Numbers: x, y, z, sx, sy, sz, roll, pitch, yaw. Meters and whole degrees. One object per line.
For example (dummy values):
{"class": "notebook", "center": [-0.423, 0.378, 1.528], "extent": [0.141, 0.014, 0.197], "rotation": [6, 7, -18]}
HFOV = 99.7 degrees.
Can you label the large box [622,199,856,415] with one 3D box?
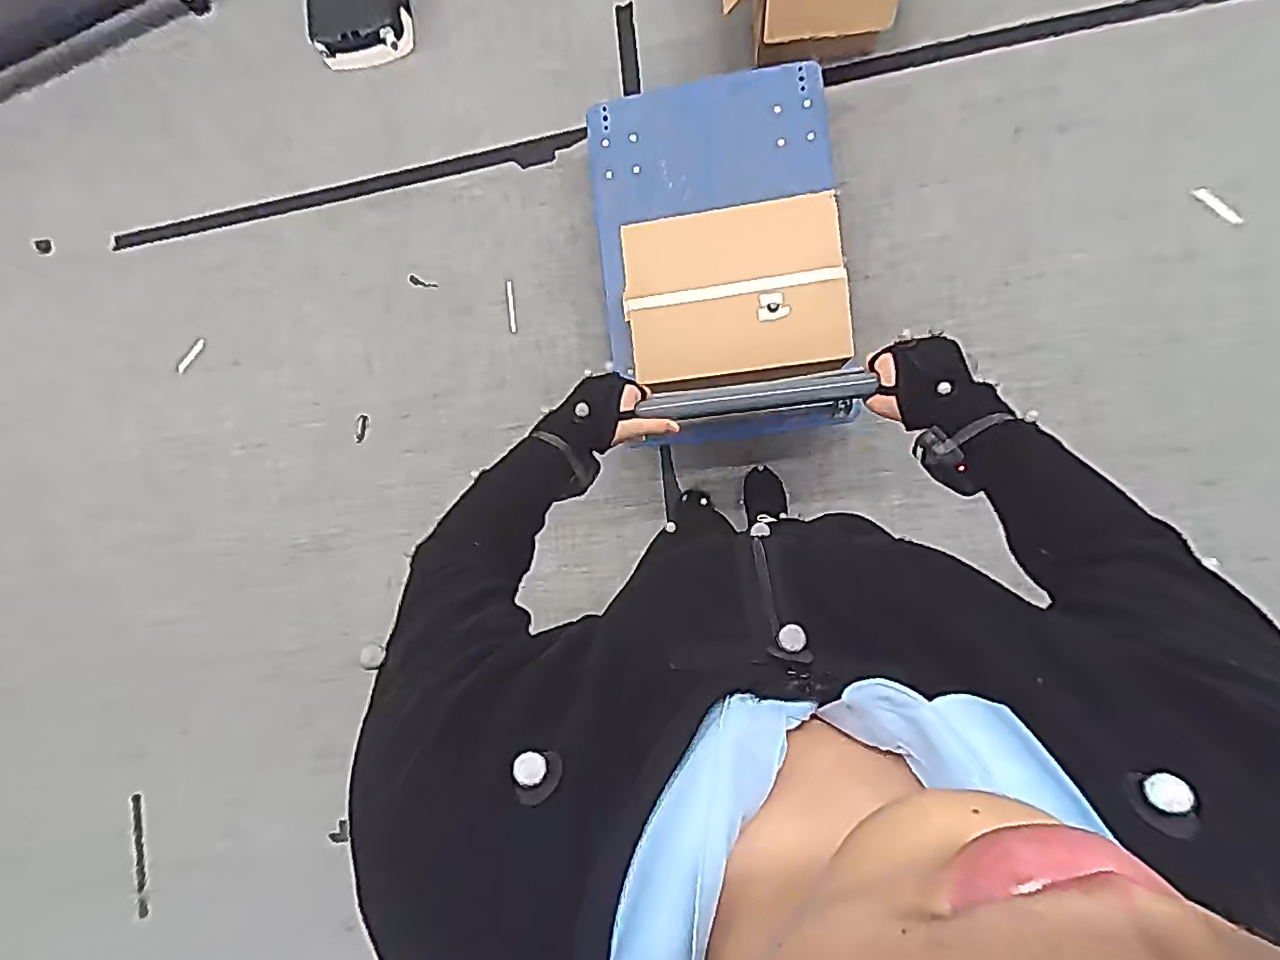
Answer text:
{"class": "large box", "center": [0.194, -0.335, 1.149], "extent": [0.408, 0.320, 0.320], "rotation": [-6, 89, 7]}
